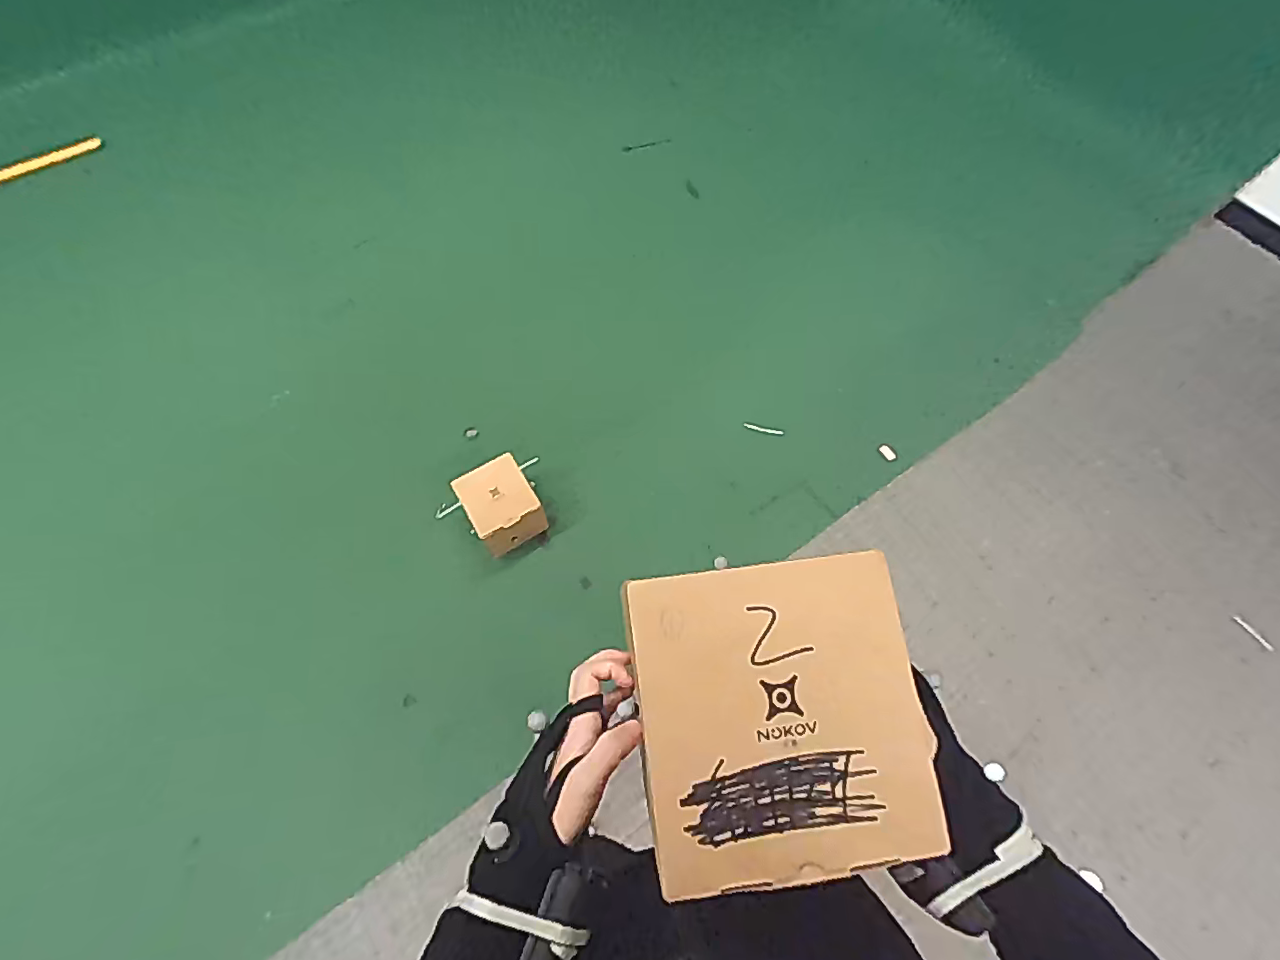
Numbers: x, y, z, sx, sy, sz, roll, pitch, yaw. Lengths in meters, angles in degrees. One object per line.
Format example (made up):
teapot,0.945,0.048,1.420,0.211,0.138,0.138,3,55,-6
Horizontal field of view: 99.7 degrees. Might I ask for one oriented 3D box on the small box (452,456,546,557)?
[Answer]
small box,-0.361,0.073,1.409,0.168,0.176,0.179,-30,71,-15
